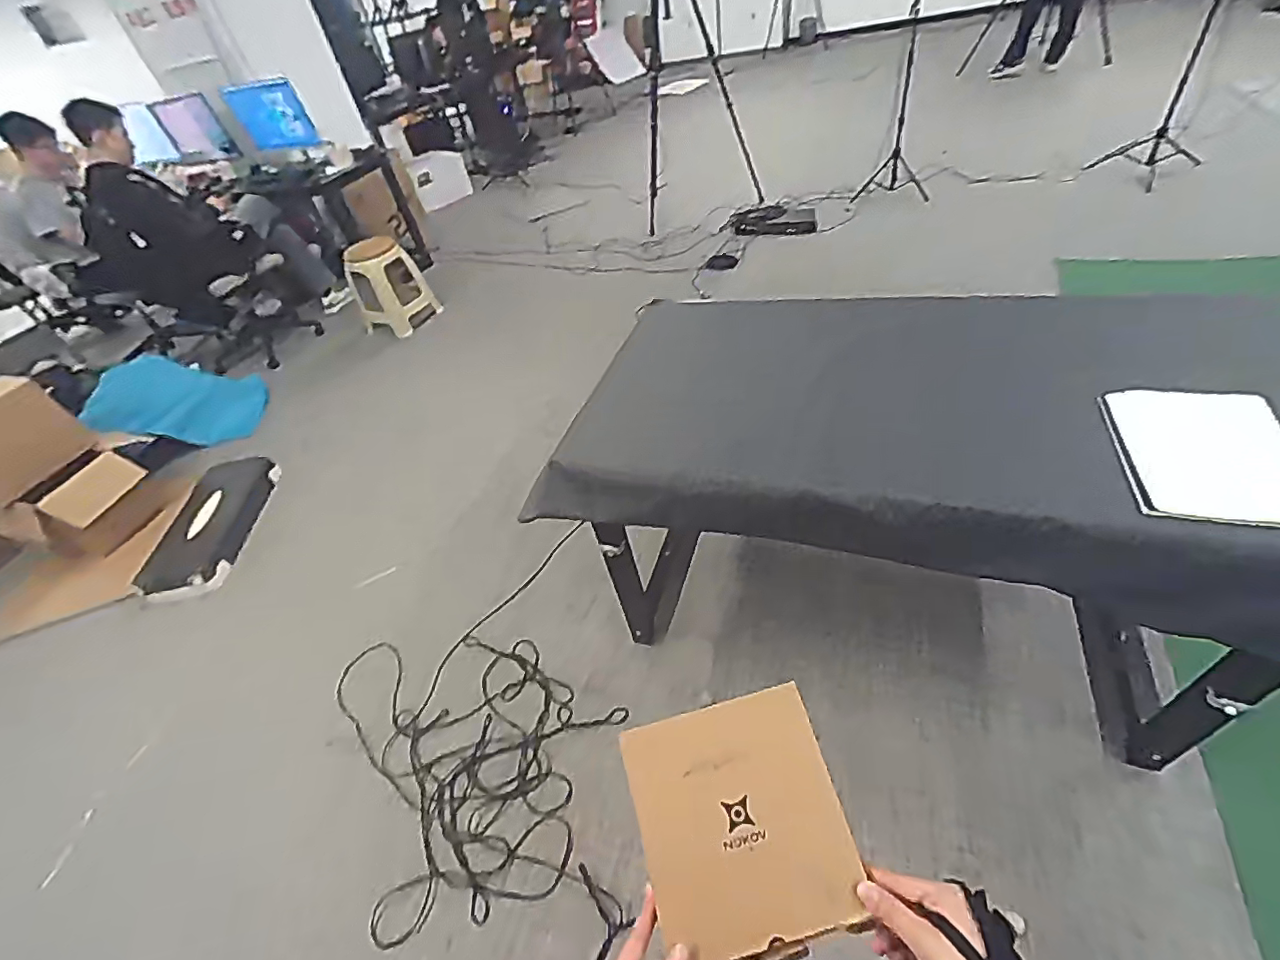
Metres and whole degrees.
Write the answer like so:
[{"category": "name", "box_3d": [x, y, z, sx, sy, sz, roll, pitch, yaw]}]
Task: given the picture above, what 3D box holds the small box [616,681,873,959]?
[{"category": "small box", "box_3d": [0.083, 0.305, 0.510, 0.168, 0.176, 0.179, -15, 64, -4]}]
